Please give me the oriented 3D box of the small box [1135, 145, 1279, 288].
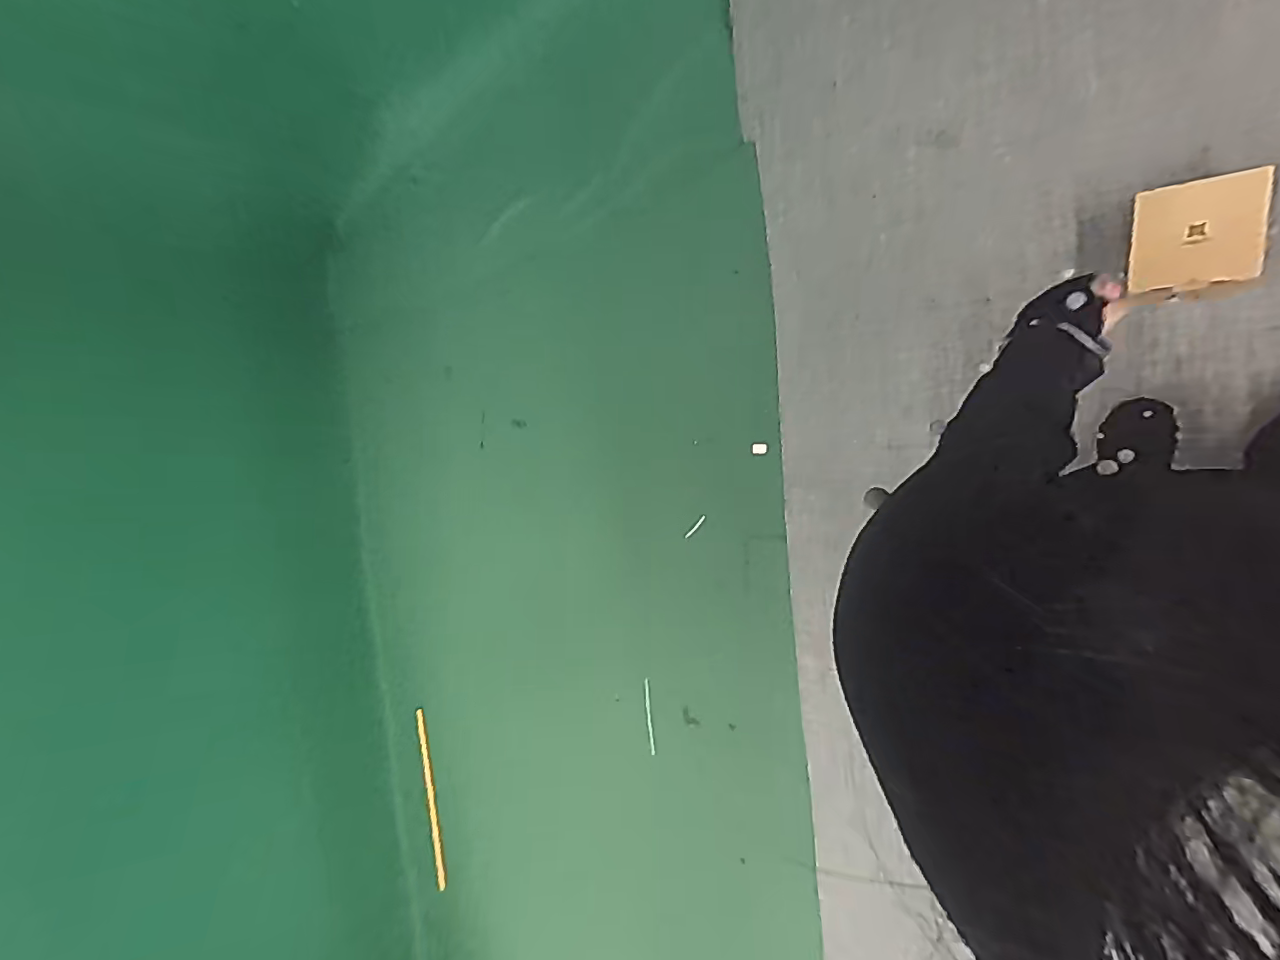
[{"bbox_3d":[1.010,-0.458,0.971,0.168,0.176,0.179,4,101,41],"label":"small box"}]
